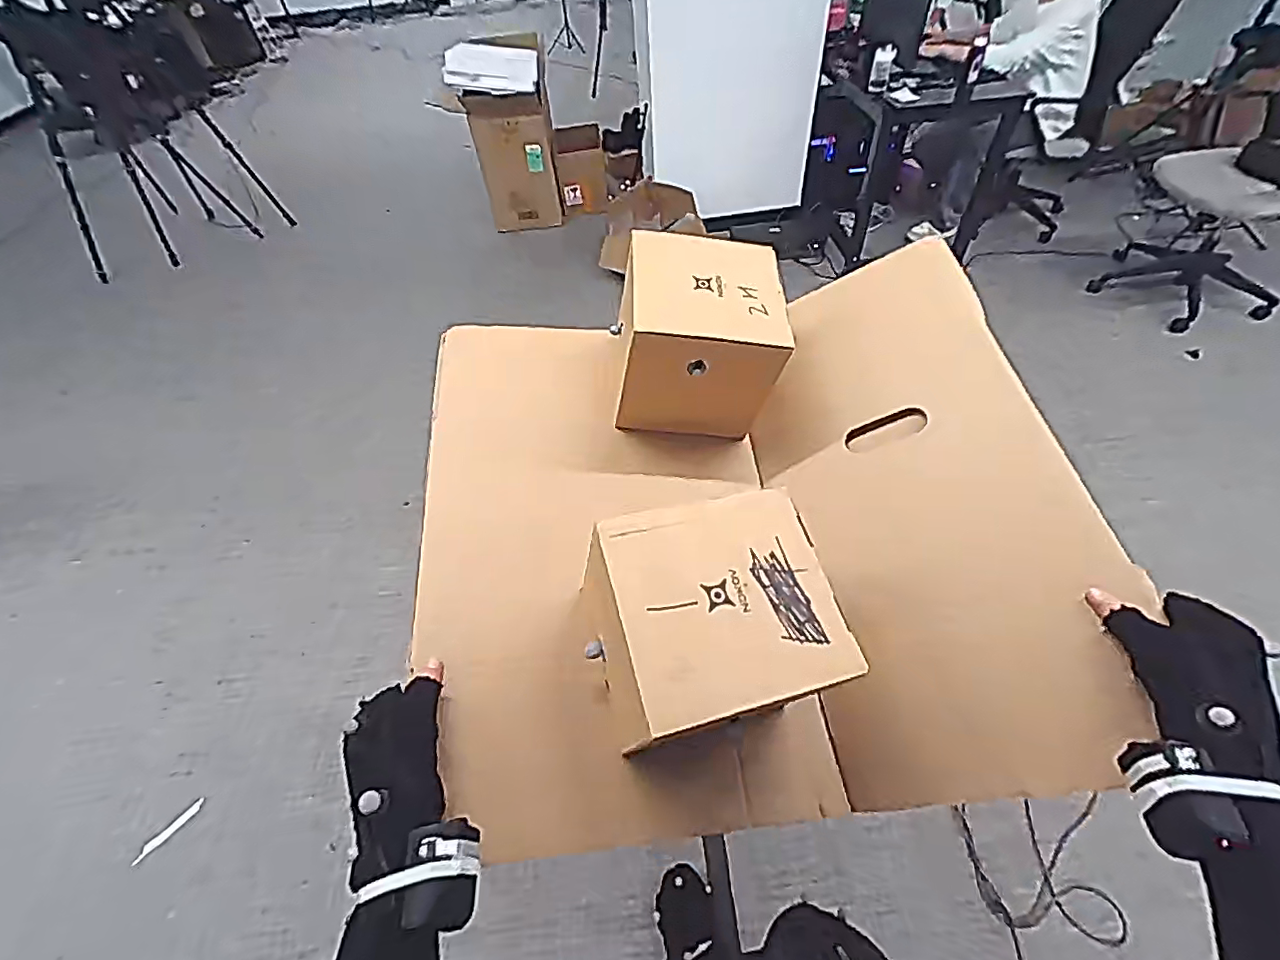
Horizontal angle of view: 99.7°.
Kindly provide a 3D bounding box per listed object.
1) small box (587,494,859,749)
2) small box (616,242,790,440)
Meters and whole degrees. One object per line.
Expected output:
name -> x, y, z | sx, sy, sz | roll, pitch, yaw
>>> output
small box -> 0.056, 0.134, 0.498 | 0.179, 0.176, 0.168 | -10, 62, -15
small box -> 0.064, -0.165, 0.677 | 0.179, 0.176, 0.168 | 5, 59, -8
